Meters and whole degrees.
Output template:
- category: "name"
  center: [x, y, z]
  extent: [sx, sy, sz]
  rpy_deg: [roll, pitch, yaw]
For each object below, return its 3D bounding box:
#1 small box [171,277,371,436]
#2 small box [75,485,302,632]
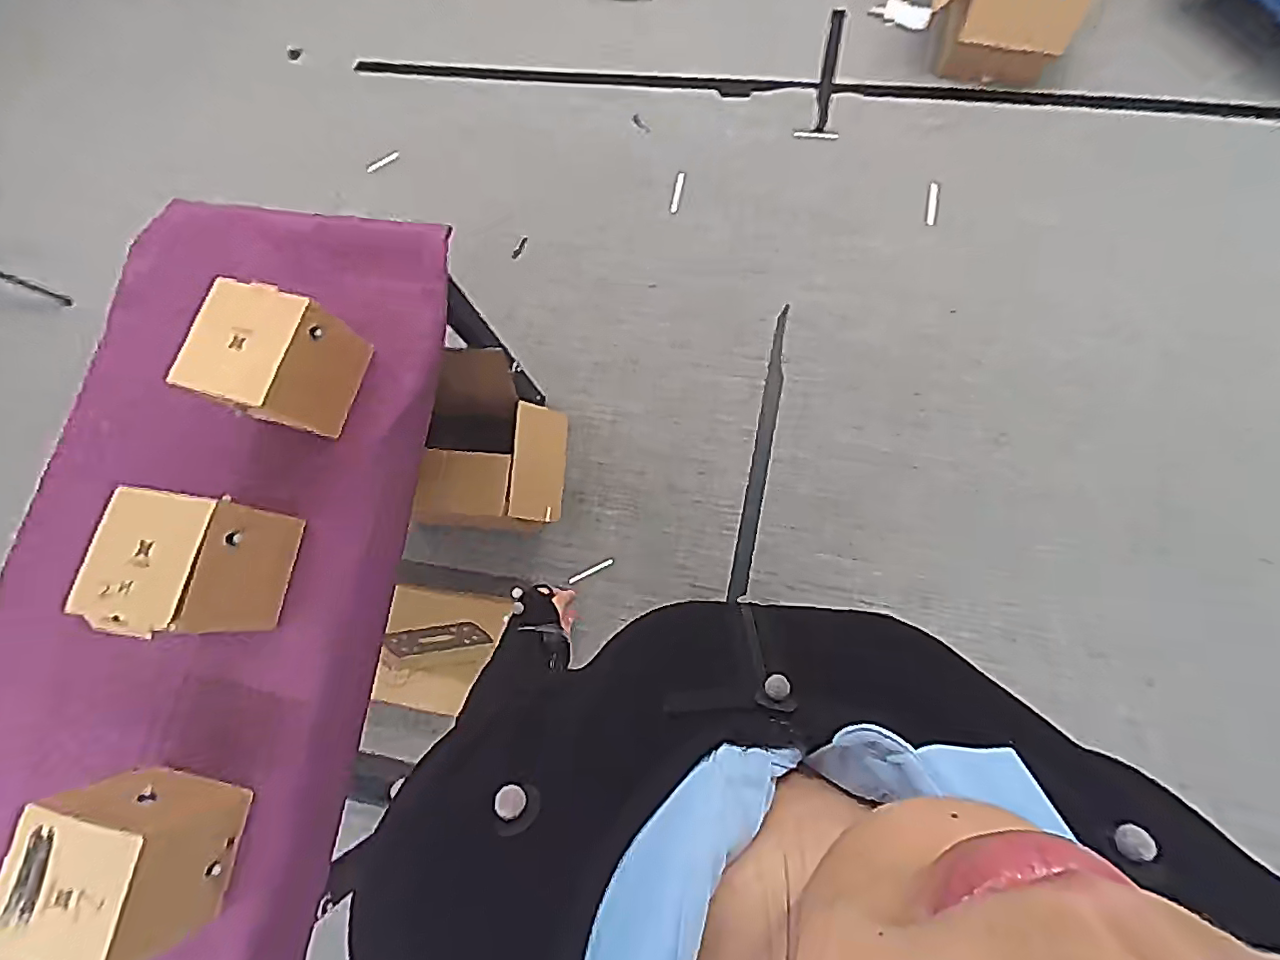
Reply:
- category: "small box"
  center: [-0.566, -0.185, 0.856]
  extent: [0.168, 0.176, 0.179]
  rpy_deg: [15, 79, 10]
- category: "small box"
  center: [-0.641, 0.118, 0.793]
  extent: [0.168, 0.176, 0.179]
  rpy_deg: [7, 78, 10]
